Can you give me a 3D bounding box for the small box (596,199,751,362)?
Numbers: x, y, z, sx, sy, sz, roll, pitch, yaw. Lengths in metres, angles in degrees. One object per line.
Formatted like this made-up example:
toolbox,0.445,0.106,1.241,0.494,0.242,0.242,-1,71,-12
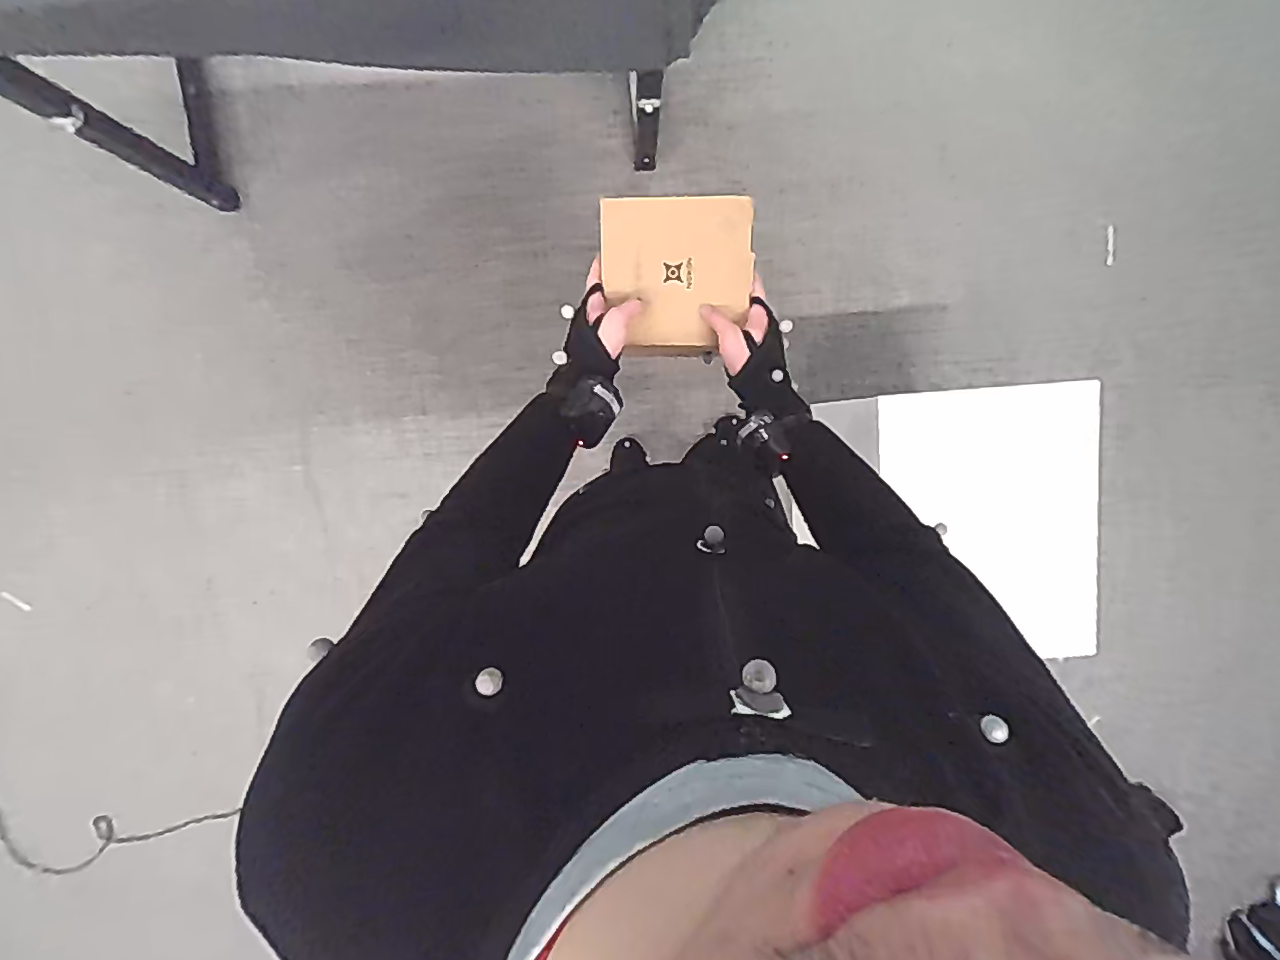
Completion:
small box,0.041,-0.244,0.695,0.179,0.176,0.168,0,98,4
